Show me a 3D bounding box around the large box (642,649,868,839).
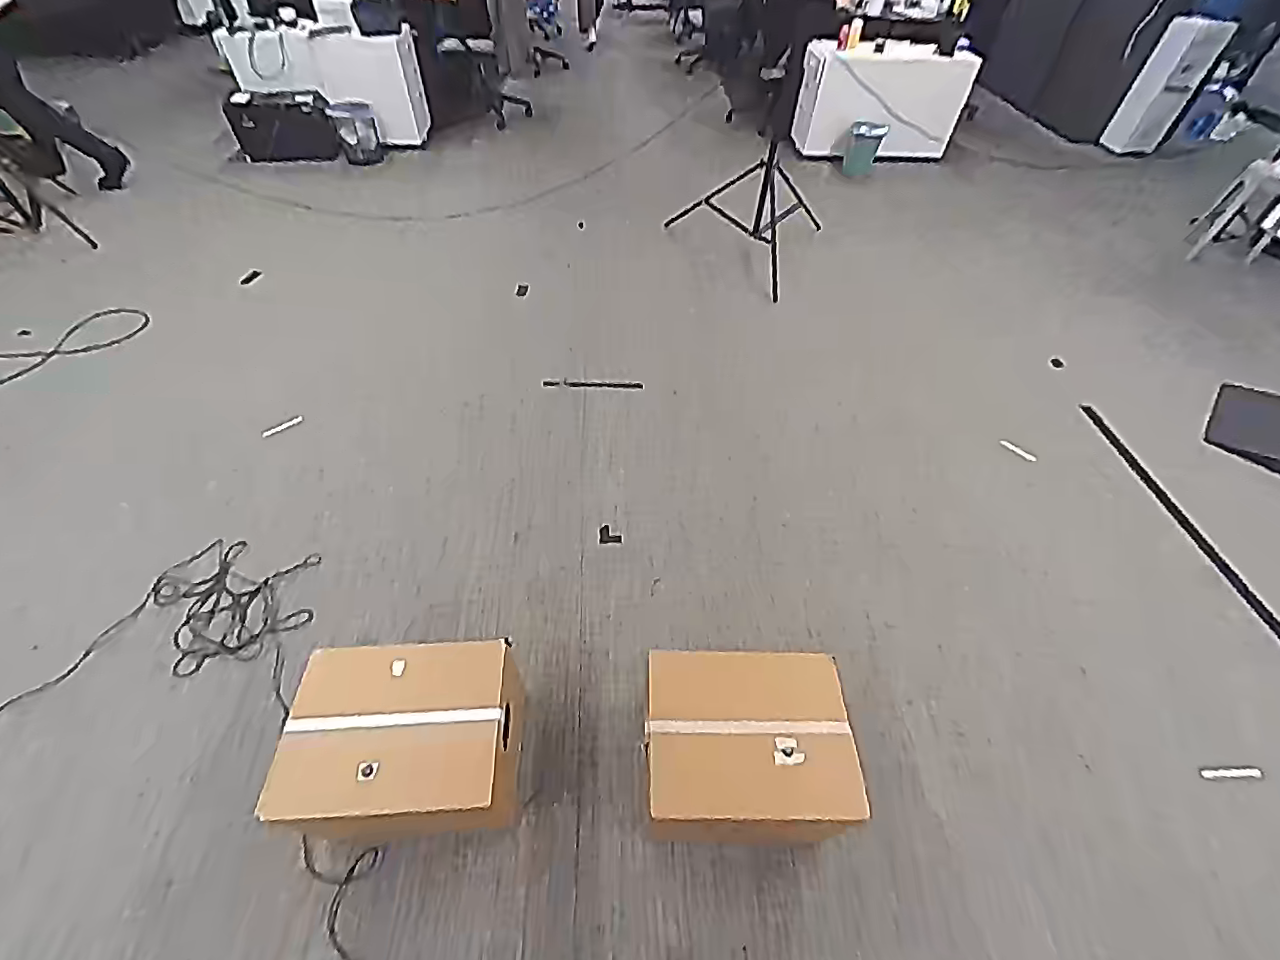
[{"bbox_3d":[0.215,0.586,1.193,0.408,0.320,0.320,2,50,-2],"label":"large box"}]
